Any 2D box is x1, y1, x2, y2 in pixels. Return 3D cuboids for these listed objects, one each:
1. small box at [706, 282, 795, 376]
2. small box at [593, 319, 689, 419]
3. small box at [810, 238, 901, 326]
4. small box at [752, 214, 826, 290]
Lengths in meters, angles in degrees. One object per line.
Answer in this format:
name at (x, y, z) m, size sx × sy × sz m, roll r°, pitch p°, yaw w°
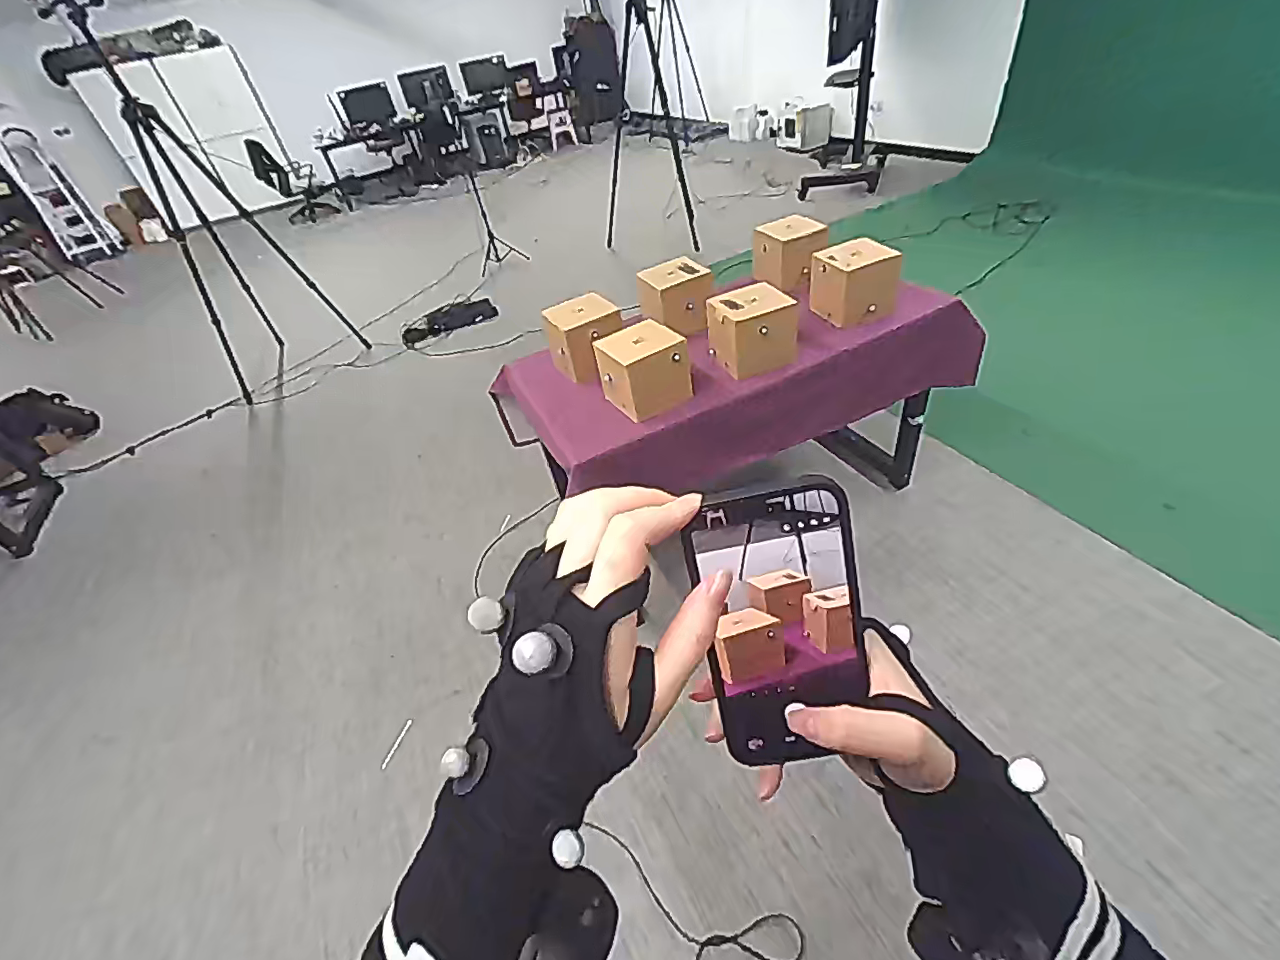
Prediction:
small box at (0.292, -0.398, 1.430) m, size 0.179 × 0.176 × 0.168 m, roll -20°, pitch 42°, yaw -10°
small box at (0.008, -0.280, 1.366) m, size 0.179 × 0.176 × 0.168 m, roll -28°, pitch 43°, yaw -19°
small box at (0.604, -0.564, 1.542) m, size 0.179 × 0.176 × 0.168 m, roll -19°, pitch 42°, yaw -9°
small box at (0.480, -0.743, 1.768) m, size 0.168 × 0.176 × 0.179 m, roll -22°, pitch 43°, yaw -11°
